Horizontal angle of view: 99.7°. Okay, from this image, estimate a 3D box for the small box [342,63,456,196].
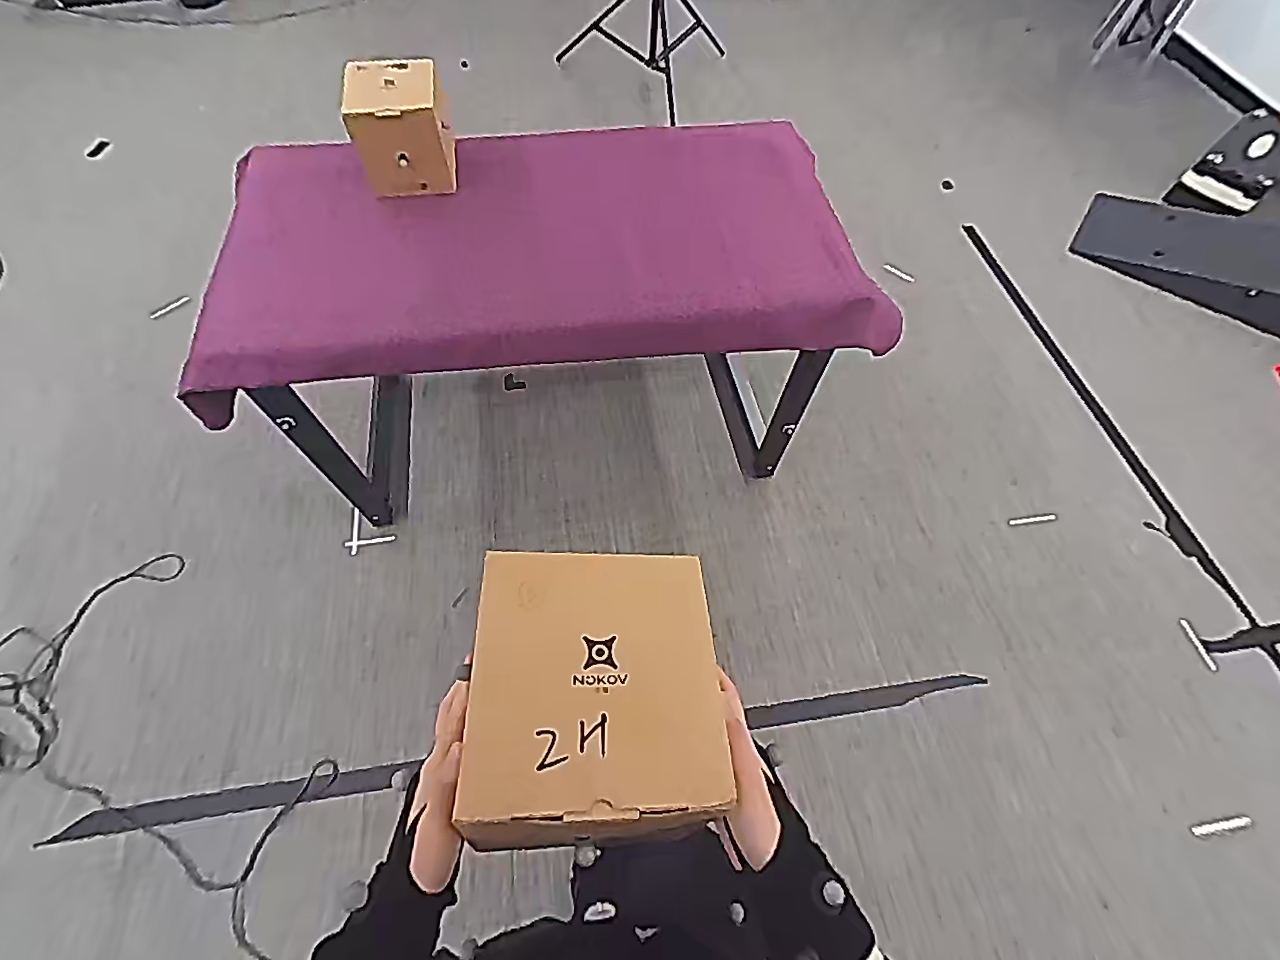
[{"bbox_3d":[-0.476,-0.697,1.092,0.168,0.176,0.179,-8,64,-7],"label":"small box"}]

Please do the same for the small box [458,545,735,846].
[{"bbox_3d":[-0.040,0.171,0.427,0.168,0.176,0.179,2,50,-9],"label":"small box"}]
